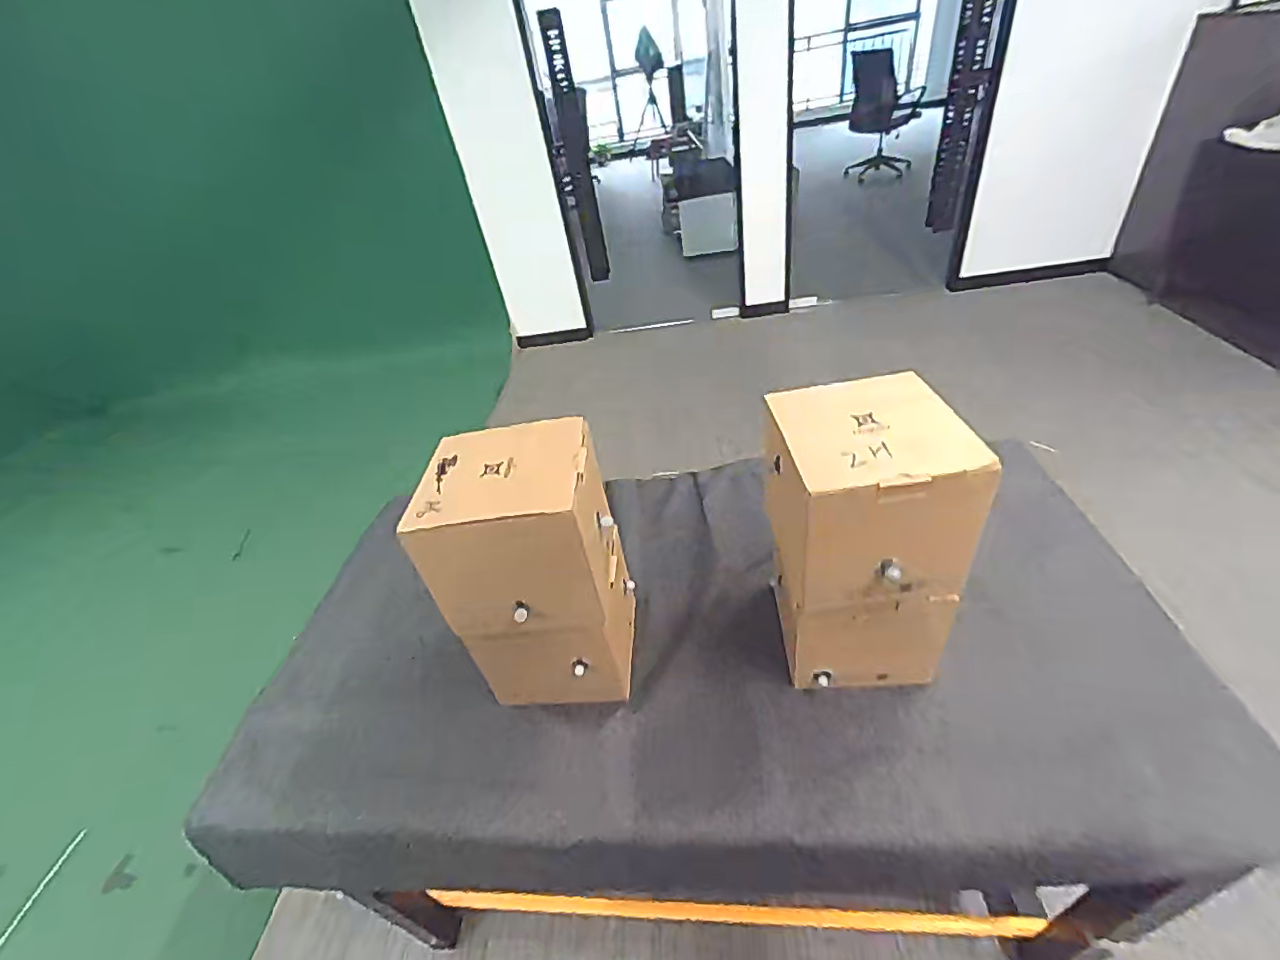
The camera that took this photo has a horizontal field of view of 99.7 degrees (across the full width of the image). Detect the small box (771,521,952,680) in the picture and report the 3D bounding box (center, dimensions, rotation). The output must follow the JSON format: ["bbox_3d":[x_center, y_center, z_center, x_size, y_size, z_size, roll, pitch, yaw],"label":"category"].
[{"bbox_3d":[0.262,0.137,0.684,0.168,0.176,0.179,-5,37,7],"label":"small box"}]

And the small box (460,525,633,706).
[{"bbox_3d":[-0.107,0.181,0.720,0.179,0.176,0.168,-6,36,7],"label":"small box"}]

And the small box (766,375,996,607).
[{"bbox_3d":[0.234,0.010,0.583,0.168,0.176,0.179,-9,37,3],"label":"small box"}]

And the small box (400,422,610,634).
[{"bbox_3d":[-0.132,0.055,0.616,0.179,0.176,0.168,-6,36,5],"label":"small box"}]
